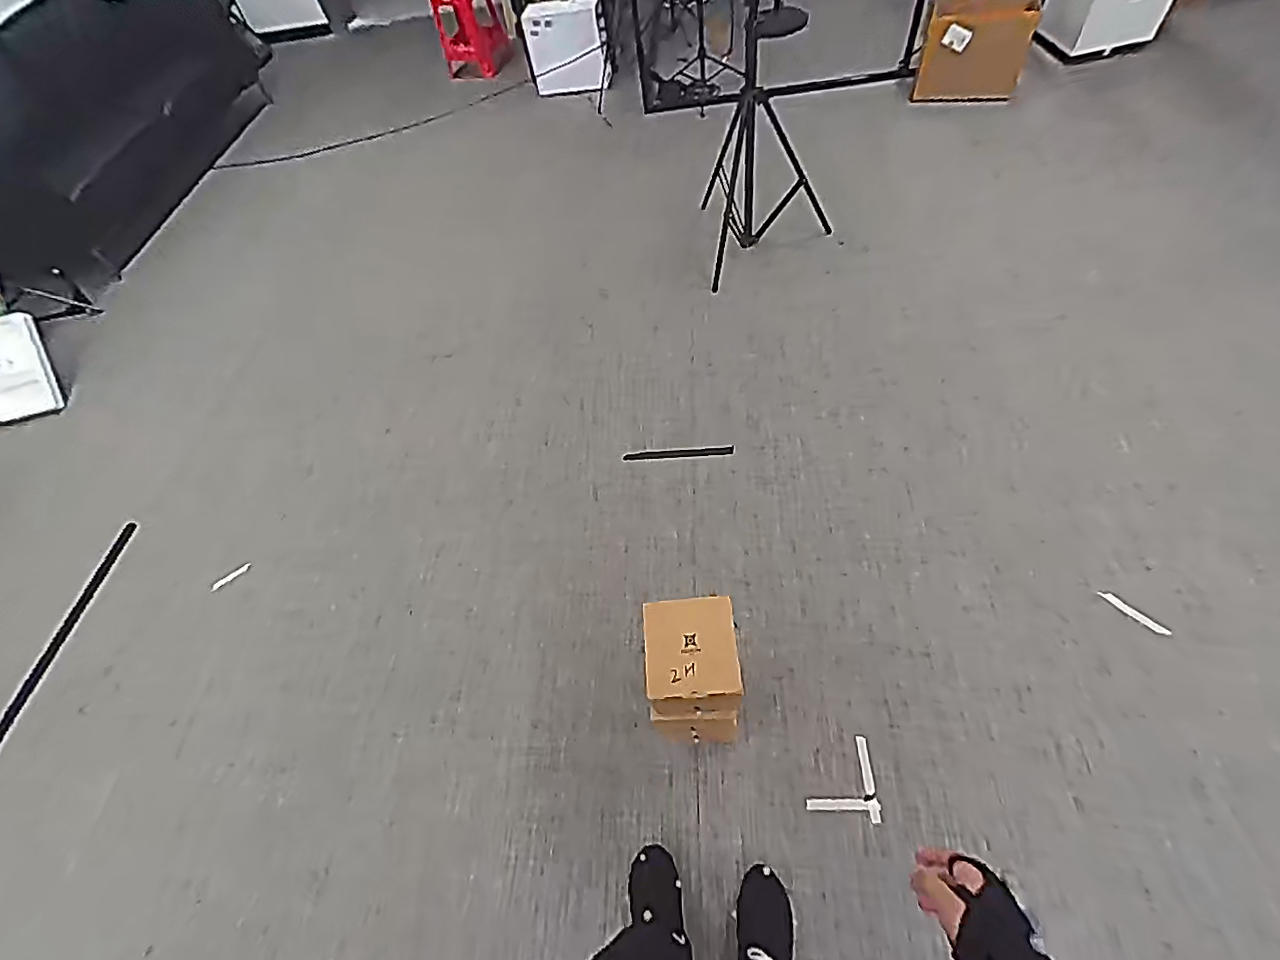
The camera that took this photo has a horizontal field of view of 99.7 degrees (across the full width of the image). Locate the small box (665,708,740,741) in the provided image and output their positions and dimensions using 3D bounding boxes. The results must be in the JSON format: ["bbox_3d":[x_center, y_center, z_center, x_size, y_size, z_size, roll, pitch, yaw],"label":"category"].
[{"bbox_3d":[0.149,0.518,1.298,0.168,0.176,0.179,-3,57,7],"label":"small box"}]

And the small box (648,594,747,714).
[{"bbox_3d":[0.108,0.334,1.029,0.168,0.176,0.179,-7,57,6],"label":"small box"}]
